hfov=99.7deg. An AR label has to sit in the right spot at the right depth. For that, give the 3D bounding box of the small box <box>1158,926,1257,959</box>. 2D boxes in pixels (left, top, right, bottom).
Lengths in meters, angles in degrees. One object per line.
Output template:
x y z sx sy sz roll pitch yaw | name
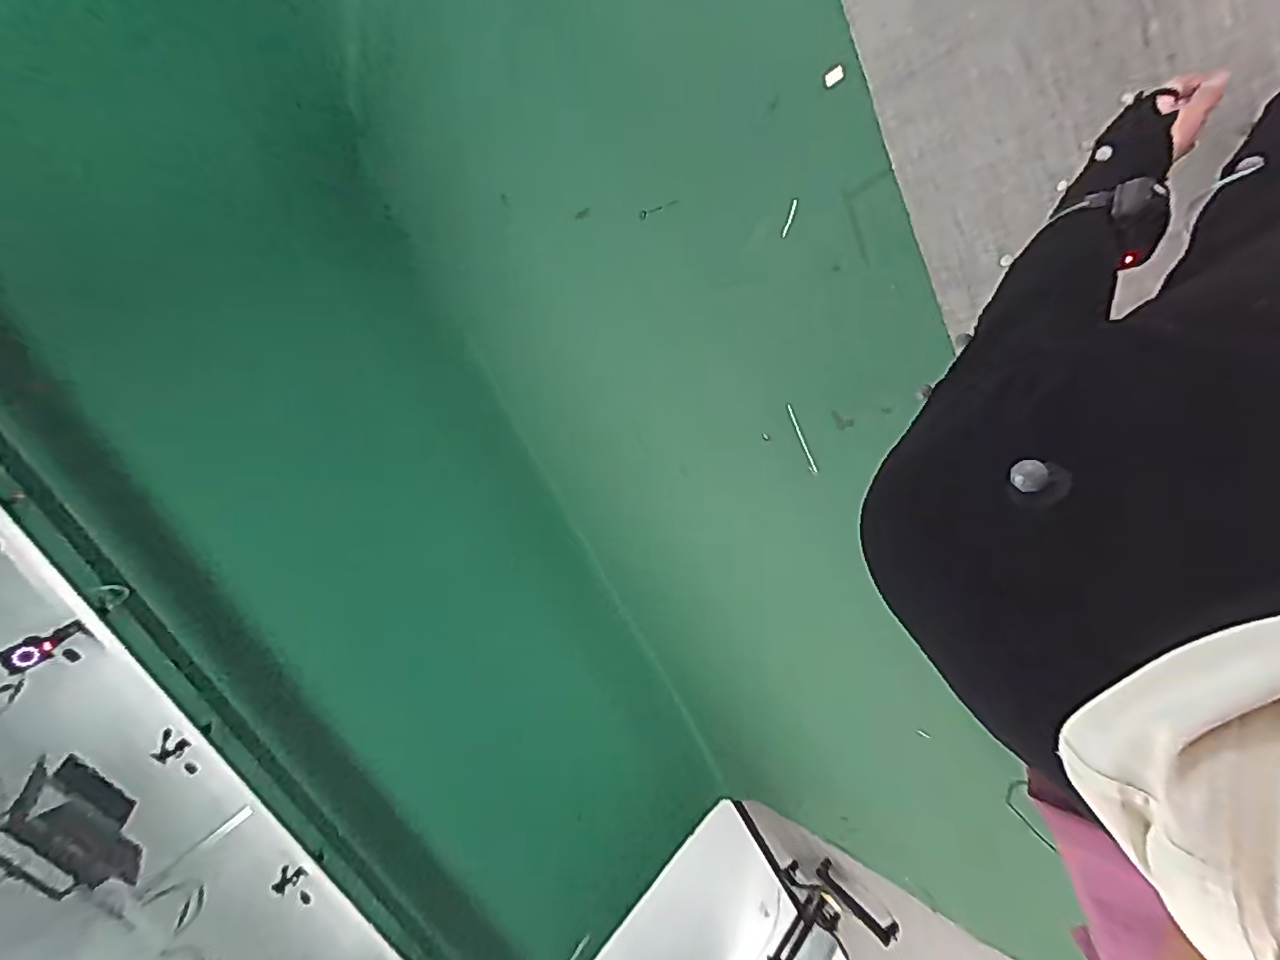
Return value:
1.151 1.038 1.062 0.179 0.176 0.168 -6 116 57 | small box
